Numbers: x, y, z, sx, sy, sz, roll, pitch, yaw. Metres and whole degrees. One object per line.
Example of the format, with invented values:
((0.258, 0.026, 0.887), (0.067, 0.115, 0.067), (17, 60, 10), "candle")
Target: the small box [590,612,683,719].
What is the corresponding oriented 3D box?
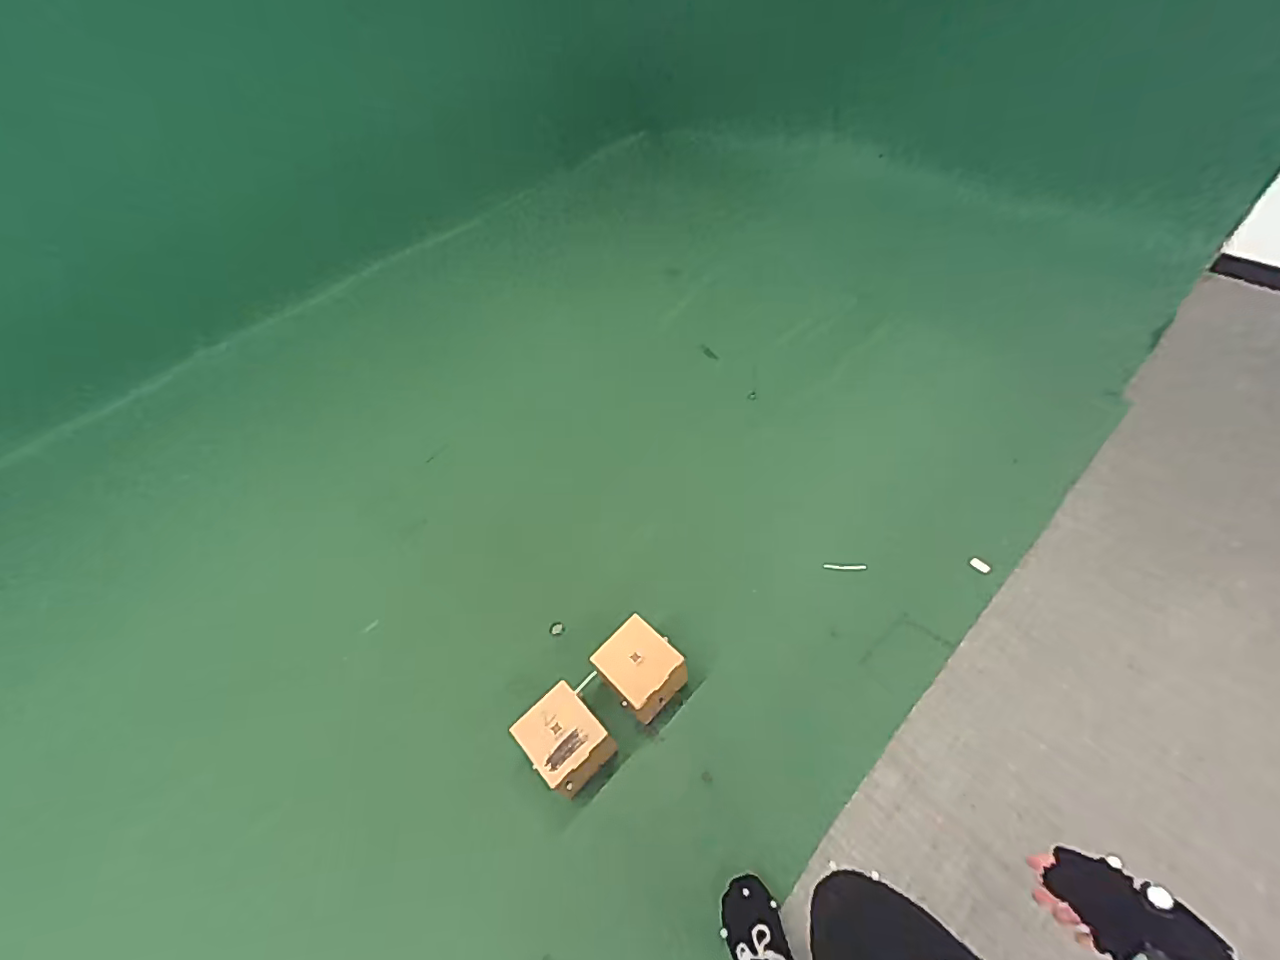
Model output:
((-0.005, 0.483, 1.397), (0.168, 0.176, 0.179), (-40, 60, -22), "small box")
